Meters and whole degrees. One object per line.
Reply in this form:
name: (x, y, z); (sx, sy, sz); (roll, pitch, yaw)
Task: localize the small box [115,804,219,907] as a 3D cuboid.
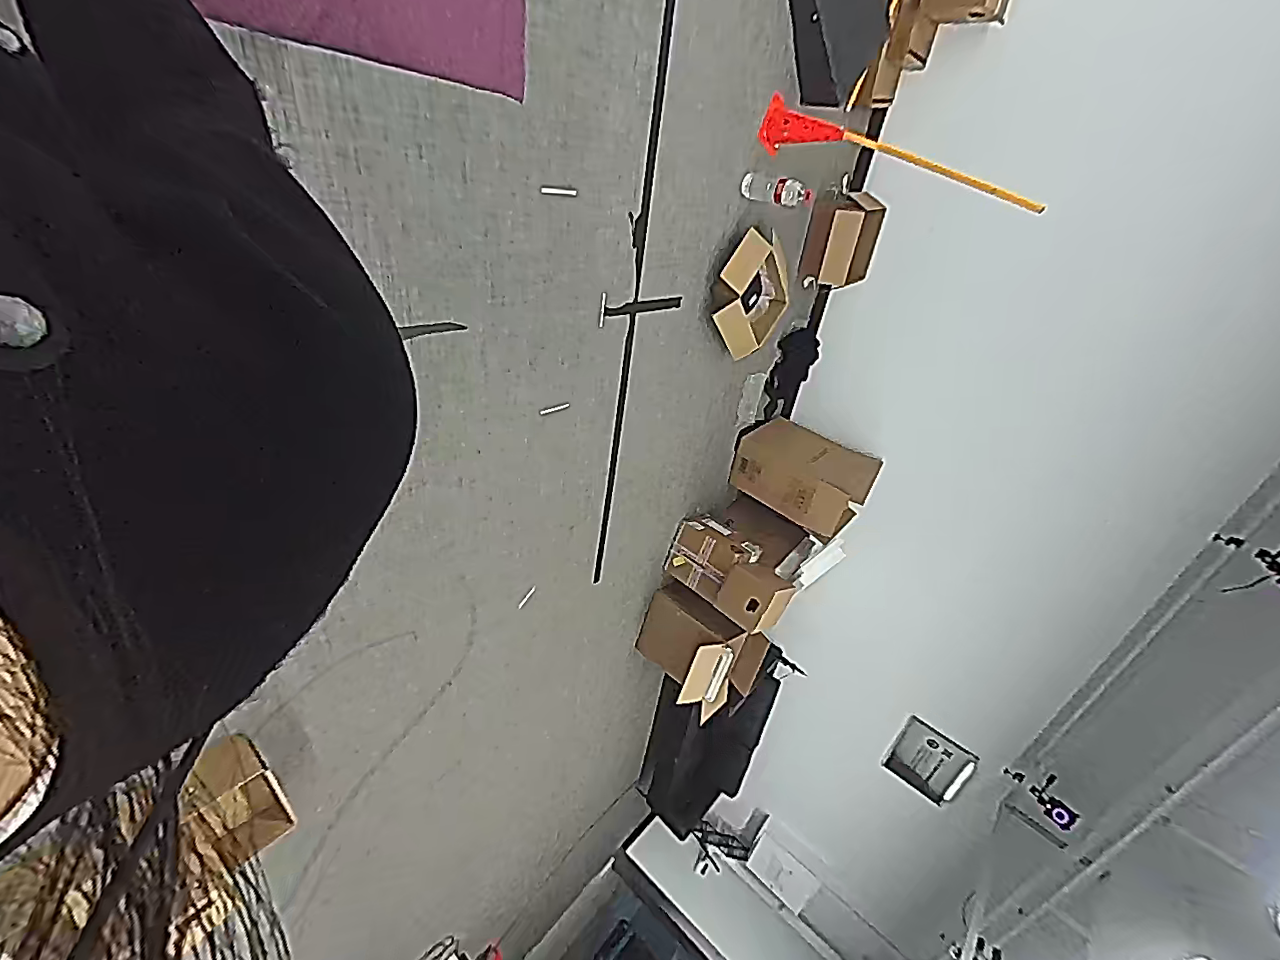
small box: (-1.430, 1.130, 1.637); (0.168, 0.176, 0.179); (-35, 141, -37)
